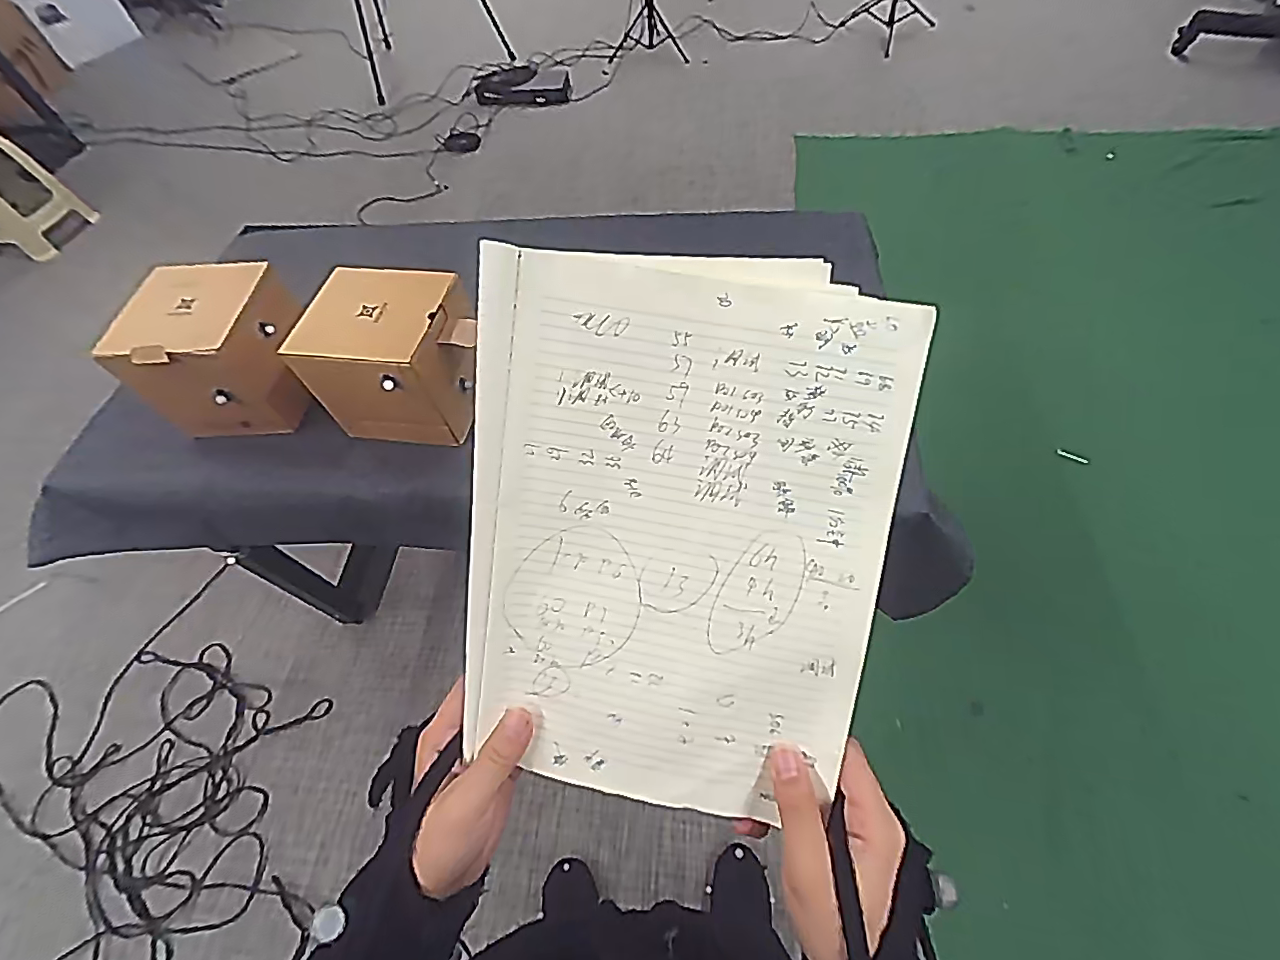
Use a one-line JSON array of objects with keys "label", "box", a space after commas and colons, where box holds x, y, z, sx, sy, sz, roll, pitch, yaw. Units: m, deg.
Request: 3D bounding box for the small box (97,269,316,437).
[{"label": "small box", "box": [-0.586, -0.174, 0.775, 0.168, 0.176, 0.179, -2, 56, 2]}]

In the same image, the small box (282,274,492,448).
[{"label": "small box", "box": [-0.329, -0.159, 0.744, 0.179, 0.176, 0.168, 5, 57, 8]}]
